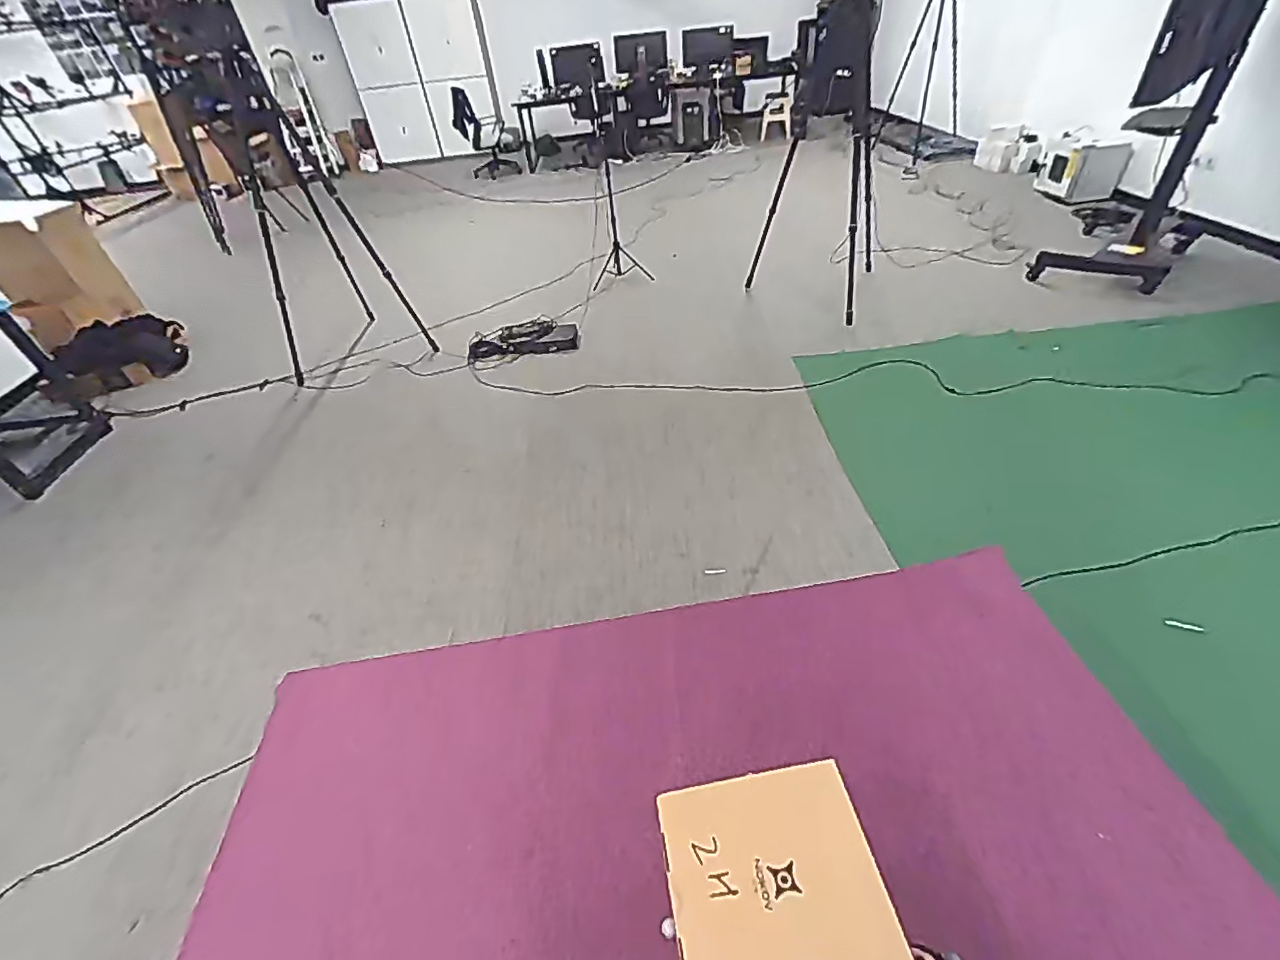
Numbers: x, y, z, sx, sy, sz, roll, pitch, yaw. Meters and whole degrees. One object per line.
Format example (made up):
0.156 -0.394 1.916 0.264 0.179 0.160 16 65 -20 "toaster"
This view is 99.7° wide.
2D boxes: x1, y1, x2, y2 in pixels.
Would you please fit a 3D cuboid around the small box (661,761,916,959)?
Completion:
0.123 0.392 0.505 0.179 0.176 0.168 -11 42 -2 "small box"
